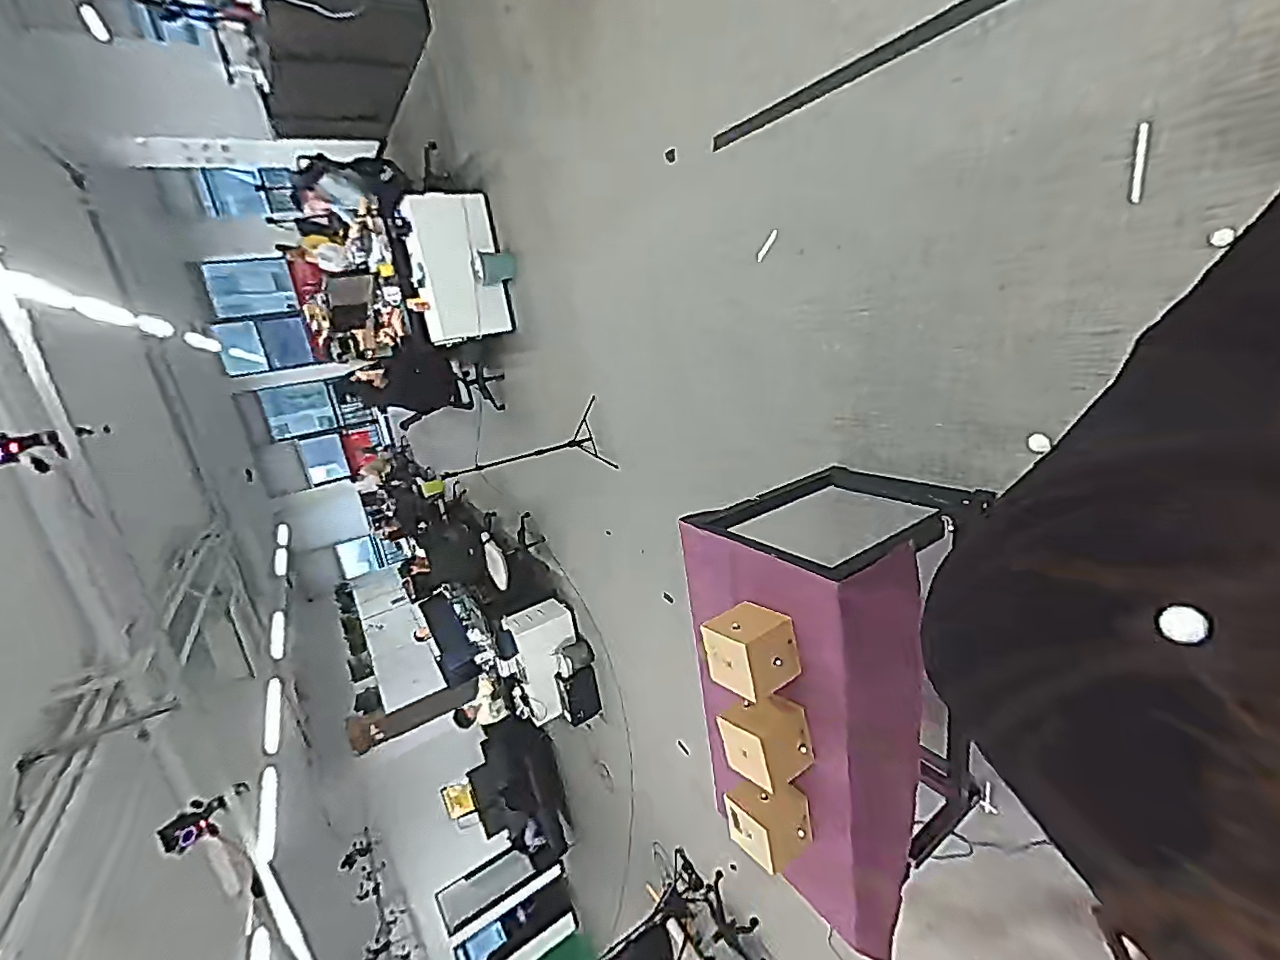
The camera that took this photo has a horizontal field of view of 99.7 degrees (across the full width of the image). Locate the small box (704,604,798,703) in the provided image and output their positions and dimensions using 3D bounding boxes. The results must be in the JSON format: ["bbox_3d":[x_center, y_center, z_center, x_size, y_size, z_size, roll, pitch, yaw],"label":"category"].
[{"bbox_3d":[0.299,0.447,1.429,0.179,0.176,0.168,7,113,59],"label":"small box"}]

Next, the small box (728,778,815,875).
[{"bbox_3d":[0.388,0.996,1.597,0.179,0.176,0.168,11,116,57],"label":"small box"}]

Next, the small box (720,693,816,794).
[{"bbox_3d":[0.353,0.711,1.493,0.179,0.176,0.168,0,107,61],"label":"small box"}]
